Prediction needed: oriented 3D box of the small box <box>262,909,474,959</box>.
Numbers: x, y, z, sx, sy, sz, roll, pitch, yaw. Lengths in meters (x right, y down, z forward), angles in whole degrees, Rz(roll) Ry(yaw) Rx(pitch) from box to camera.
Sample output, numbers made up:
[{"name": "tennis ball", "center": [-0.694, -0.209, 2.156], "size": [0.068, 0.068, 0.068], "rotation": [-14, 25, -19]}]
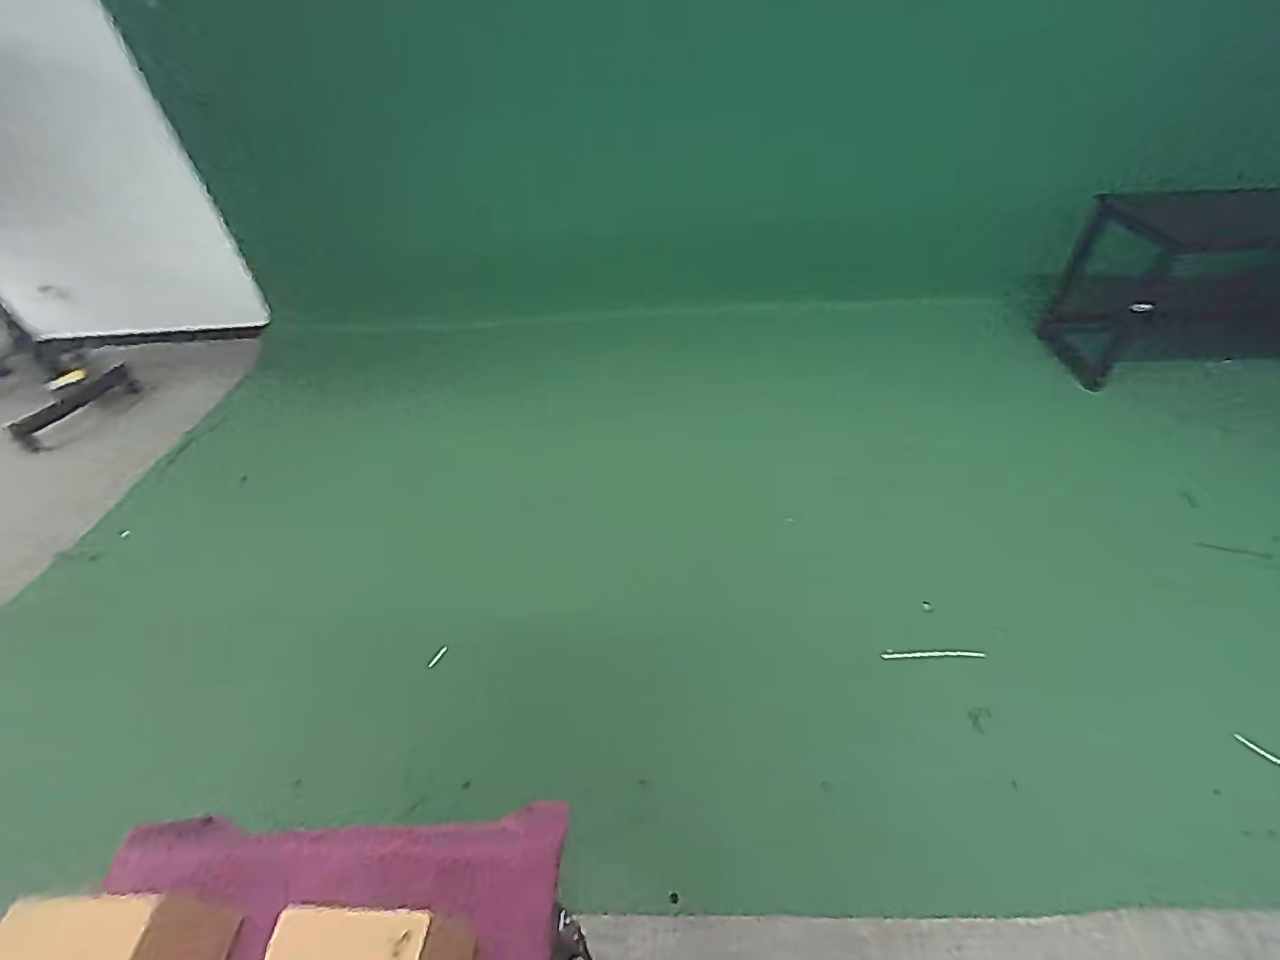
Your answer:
[{"name": "small box", "center": [-0.307, 0.587, 0.587], "size": [0.179, 0.176, 0.168], "rotation": [-2, 45, 6]}]

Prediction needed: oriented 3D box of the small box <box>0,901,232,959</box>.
[{"name": "small box", "center": [-0.624, 0.589, 0.608], "size": [0.179, 0.176, 0.168], "rotation": [-2, 46, 1]}]
